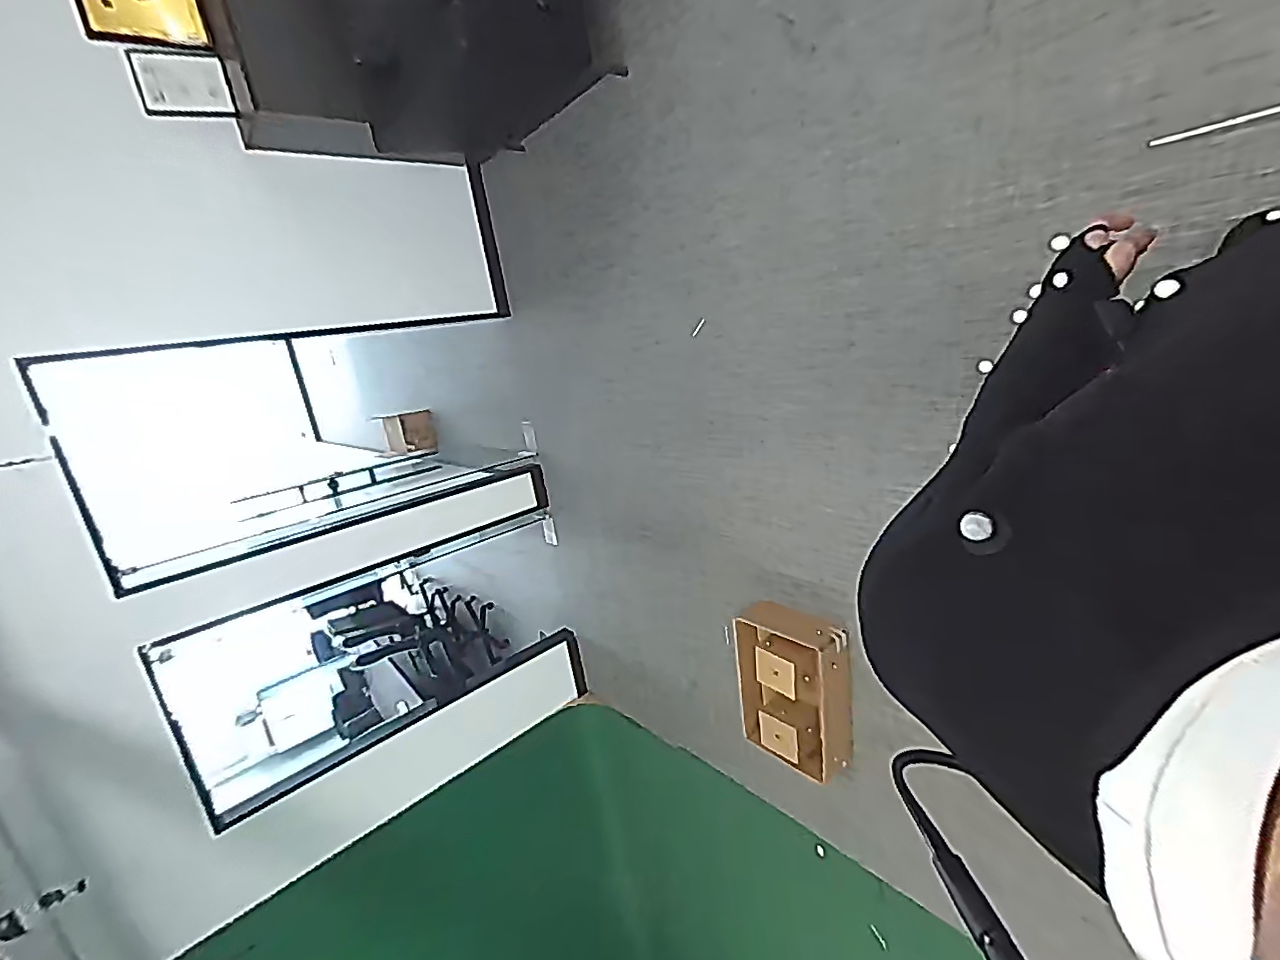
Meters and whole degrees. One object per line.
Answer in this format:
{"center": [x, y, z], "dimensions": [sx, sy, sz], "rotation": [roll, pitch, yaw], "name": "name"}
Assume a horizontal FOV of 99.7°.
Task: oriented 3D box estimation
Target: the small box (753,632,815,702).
{"center": [0.563, 0.719, 2.104], "dimensions": [0.179, 0.176, 0.168], "rotation": [15, 116, 47], "name": "small box"}

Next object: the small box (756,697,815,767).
{"center": [0.594, 1.007, 2.186], "dimensions": [0.179, 0.176, 0.168], "rotation": [10, 111, 49], "name": "small box"}
